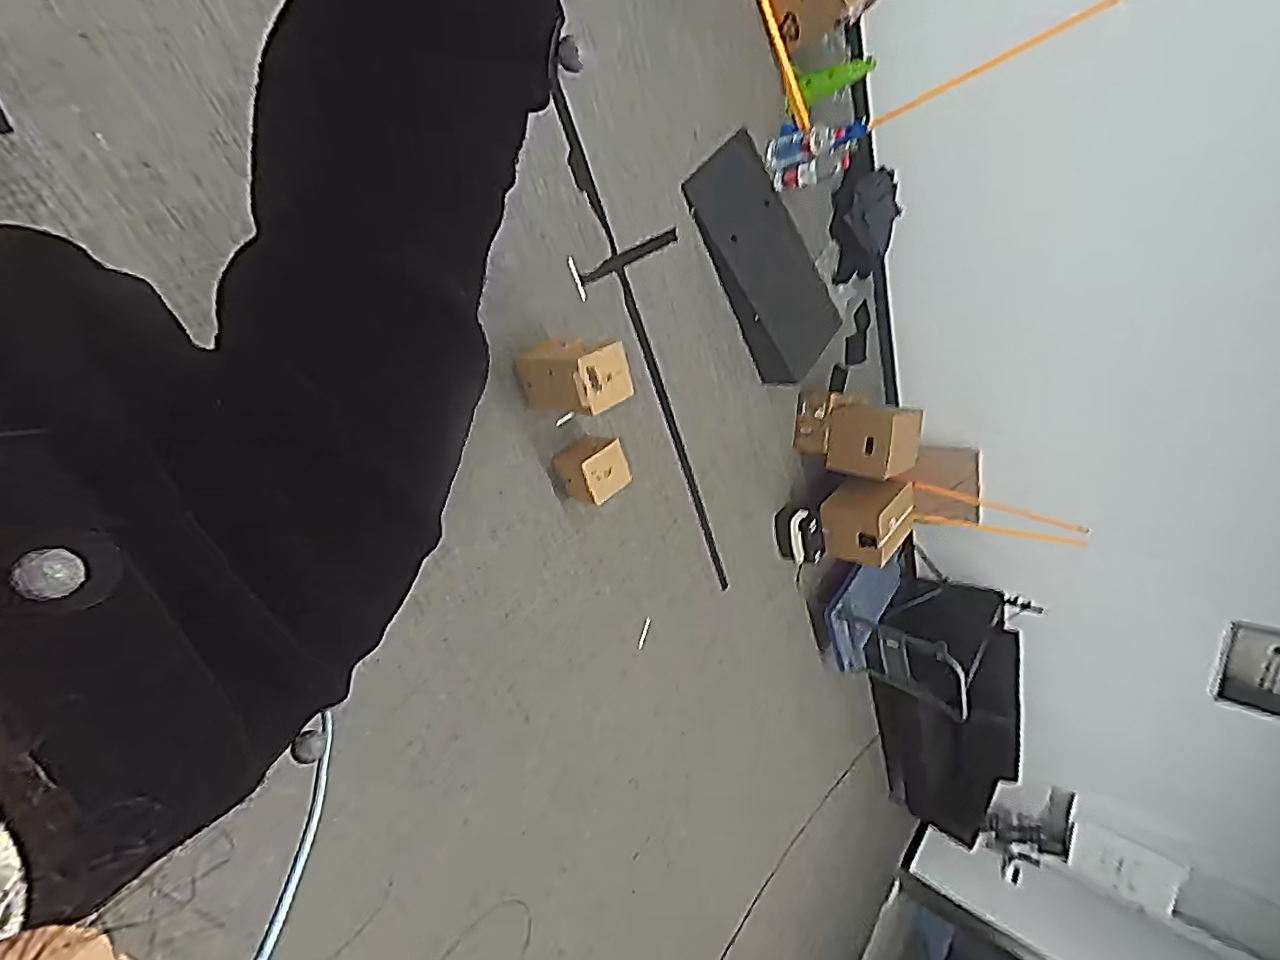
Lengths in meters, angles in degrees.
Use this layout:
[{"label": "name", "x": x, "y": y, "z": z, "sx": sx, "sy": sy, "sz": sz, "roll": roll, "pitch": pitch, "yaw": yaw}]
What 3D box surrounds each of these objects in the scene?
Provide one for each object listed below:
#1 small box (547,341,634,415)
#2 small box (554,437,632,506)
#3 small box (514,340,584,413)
[{"label": "small box", "x": -0.151, "y": -0.298, "z": 1.579, "sx": 0.179, "sy": 0.176, "sz": 0.168, "roll": -34, "pitch": 121, "yaw": -36}, {"label": "small box", "x": -0.162, "y": -0.036, "z": 1.855, "sx": 0.179, "sy": 0.176, "sz": 0.168, "roll": -38, "pitch": 122, "yaw": -33}, {"label": "small box", "x": -0.263, "y": -0.329, "z": 1.696, "sx": 0.168, "sy": 0.176, "sz": 0.179, "roll": -38, "pitch": 124, "yaw": -33}]
